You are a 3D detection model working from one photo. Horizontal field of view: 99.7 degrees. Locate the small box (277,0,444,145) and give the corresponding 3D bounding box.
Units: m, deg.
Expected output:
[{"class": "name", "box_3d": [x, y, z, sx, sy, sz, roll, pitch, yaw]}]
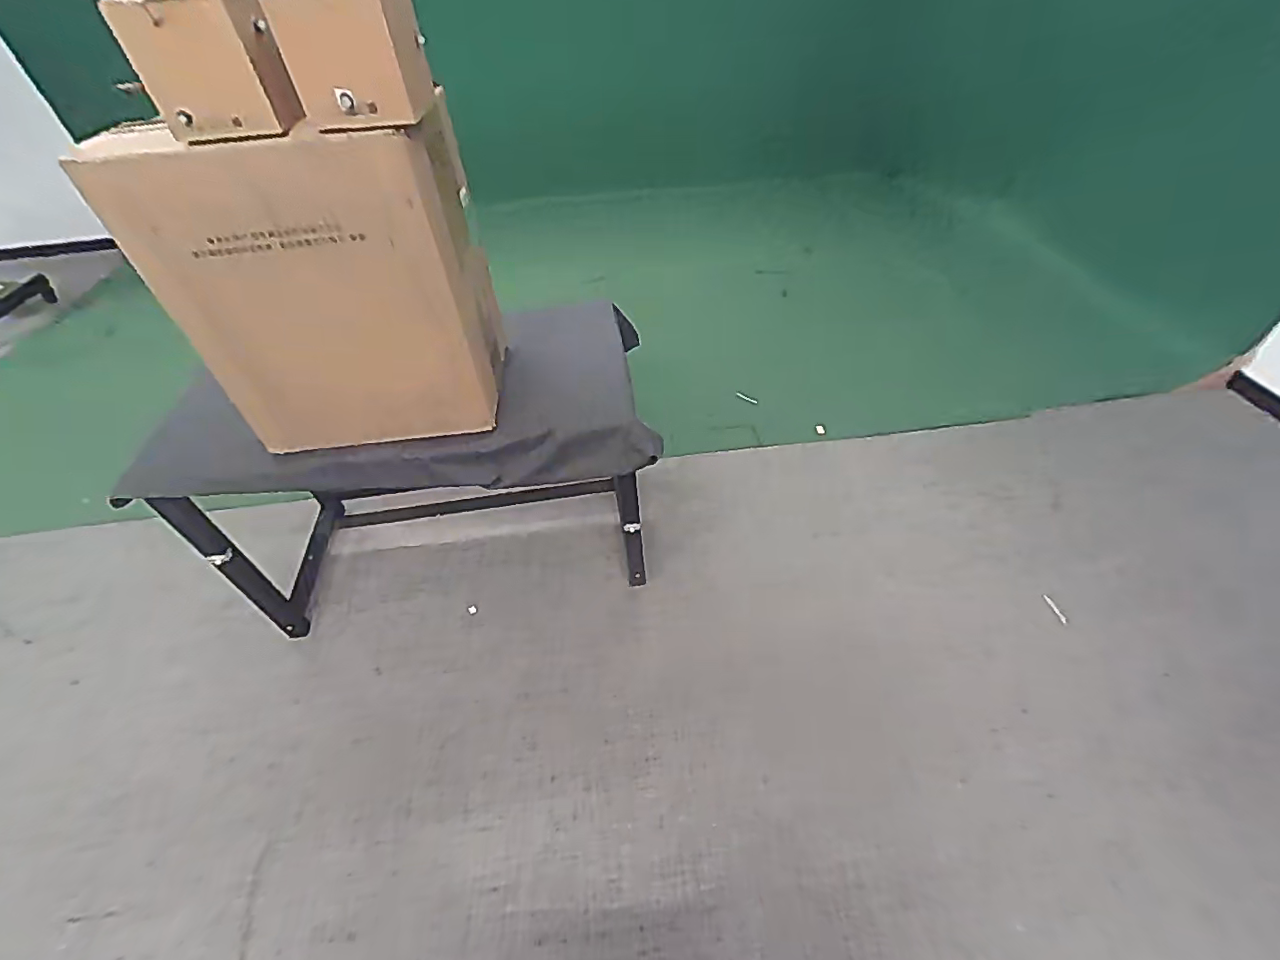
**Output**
[{"class": "small box", "box_3d": [-0.431, -0.661, 0.874, 0.168, 0.176, 0.179, -6, 46, -1]}]
